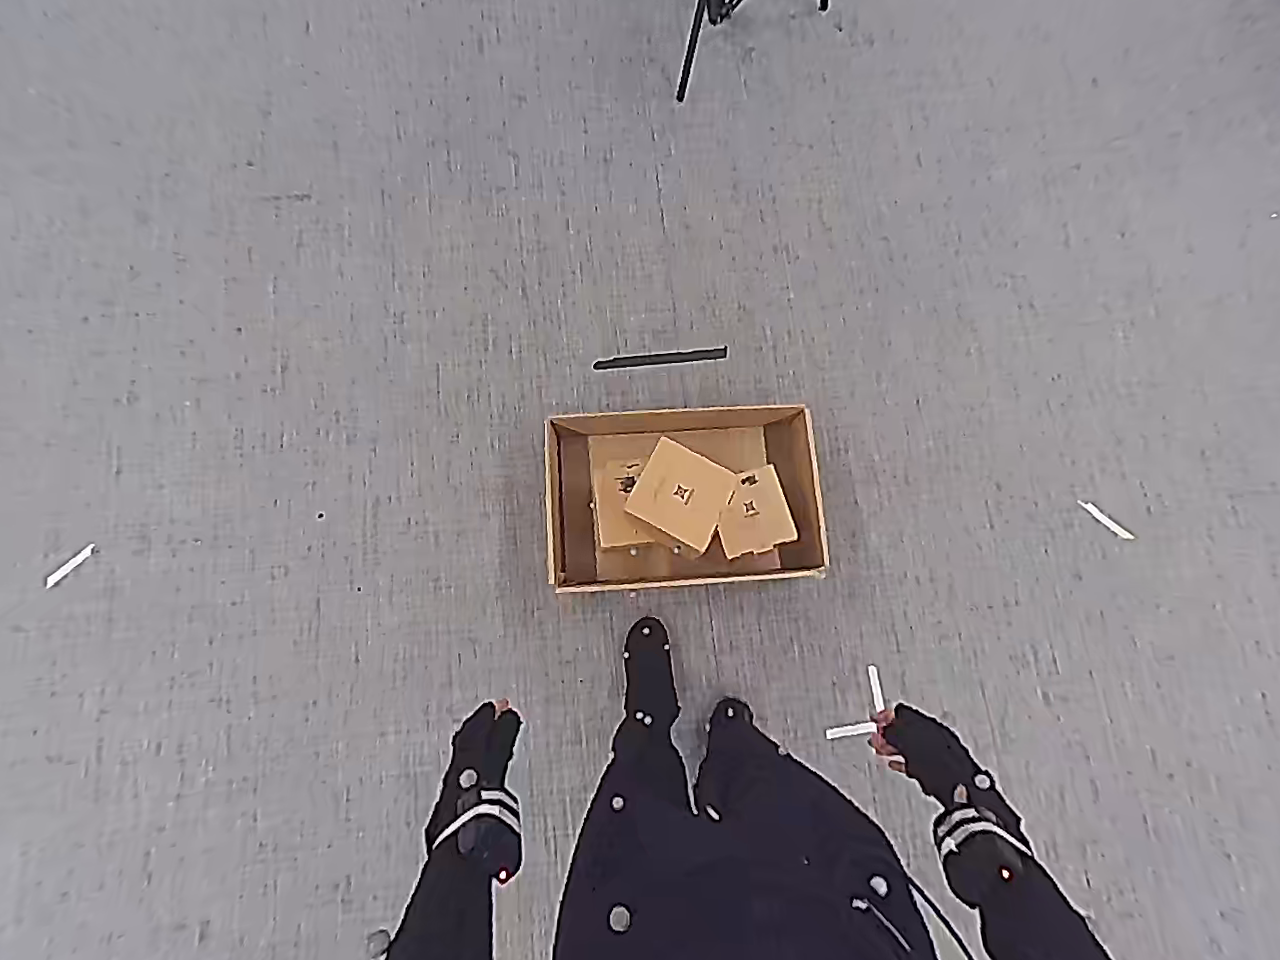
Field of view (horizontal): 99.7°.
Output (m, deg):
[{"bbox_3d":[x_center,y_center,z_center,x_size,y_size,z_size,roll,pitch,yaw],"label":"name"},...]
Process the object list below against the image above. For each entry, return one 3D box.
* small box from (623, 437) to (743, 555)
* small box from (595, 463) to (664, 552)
[{"bbox_3d":[0.079,0.041,1.090,0.179,0.176,0.168,28,77,4],"label":"small box"},{"bbox_3d":[-0.016,0.066,1.246,0.168,0.176,0.179,-6,79,-5],"label":"small box"}]
